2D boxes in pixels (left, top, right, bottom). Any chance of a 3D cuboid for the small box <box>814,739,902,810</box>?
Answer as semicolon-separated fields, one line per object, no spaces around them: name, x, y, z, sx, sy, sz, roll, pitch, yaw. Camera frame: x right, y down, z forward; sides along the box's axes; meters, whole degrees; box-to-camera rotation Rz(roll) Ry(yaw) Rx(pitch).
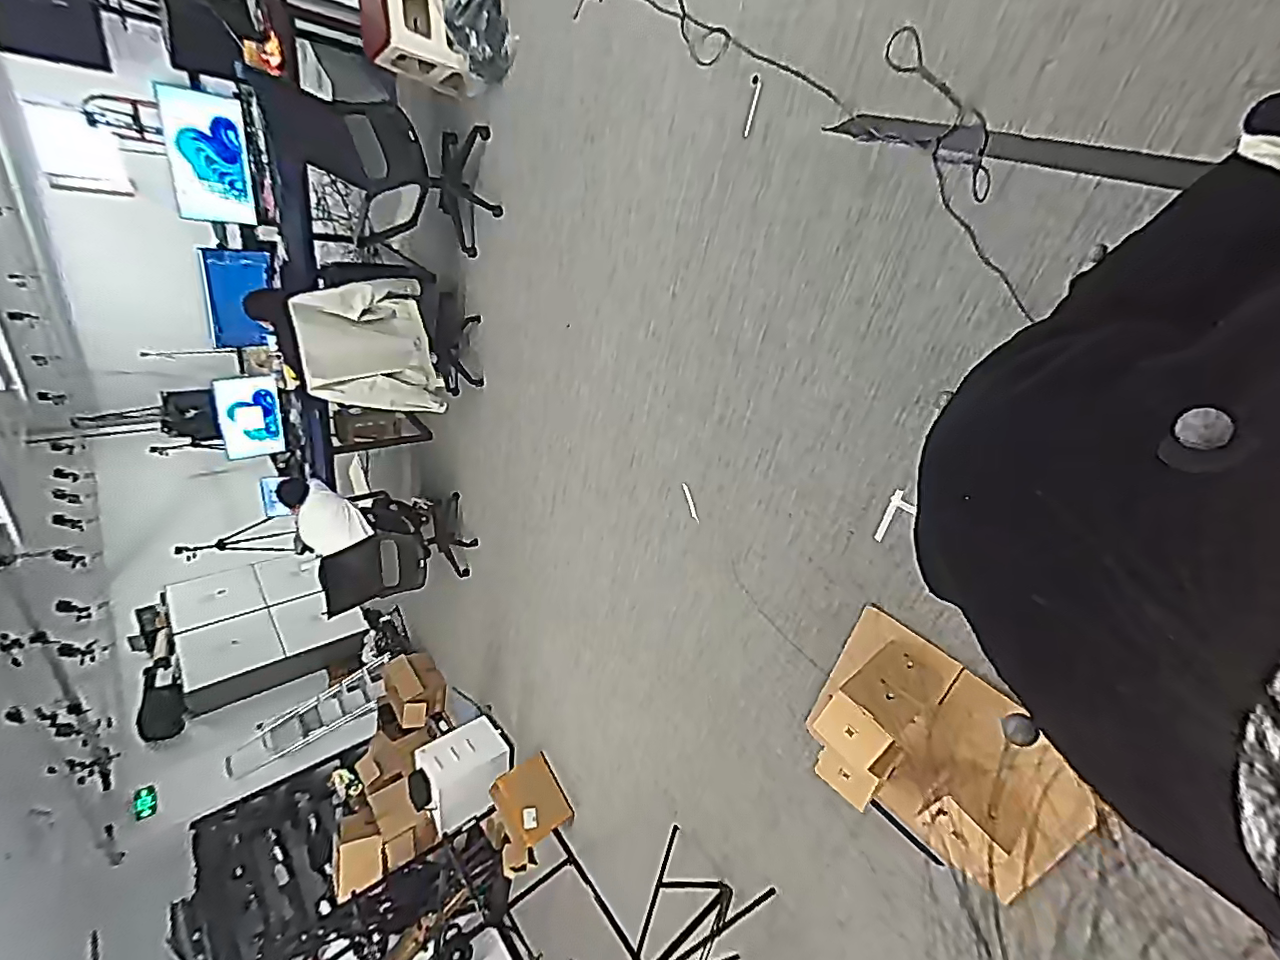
small box;0.687;0.881;1.709;0.179;0.176;0.168;32;126;39

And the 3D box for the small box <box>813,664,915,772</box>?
small box;0.610;0.639;1.467;0.168;0.176;0.179;40;128;34

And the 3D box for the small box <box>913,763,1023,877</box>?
small box;0.896;0.921;1.474;0.179;0.176;0.168;44;131;29

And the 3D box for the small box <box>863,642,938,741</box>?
small box;0.731;0.608;1.572;0.168;0.176;0.179;37;126;36
